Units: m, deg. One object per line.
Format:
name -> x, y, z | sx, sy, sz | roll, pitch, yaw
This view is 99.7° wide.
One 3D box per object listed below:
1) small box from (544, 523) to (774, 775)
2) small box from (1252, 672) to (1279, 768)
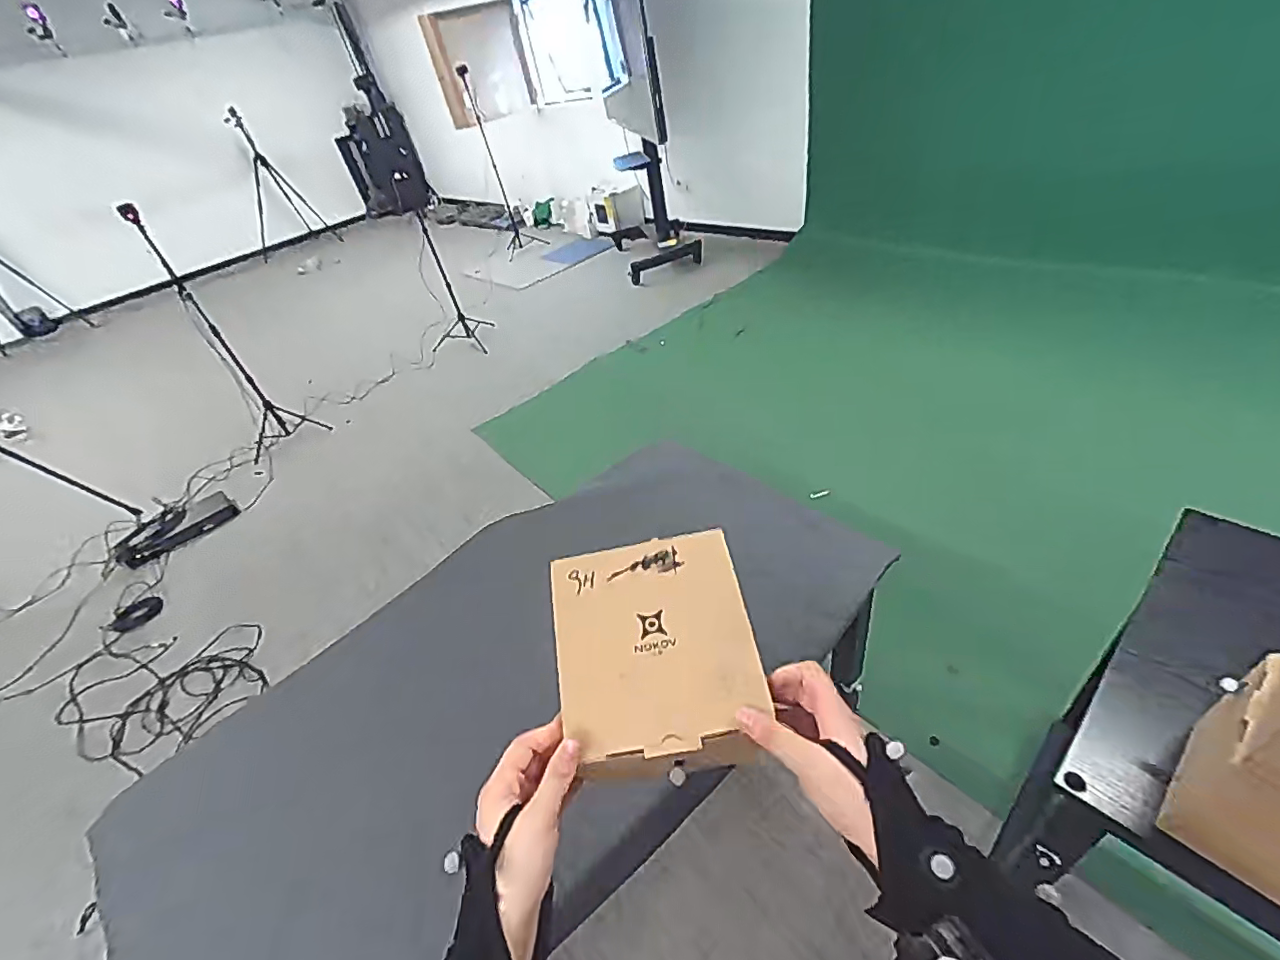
small box -> 0.016, 0.167, 0.509 | 0.168, 0.176, 0.179 | -12, 58, 0
small box -> 0.660, 0.190, 0.432 | 0.179, 0.176, 0.168 | -34, 45, -24
